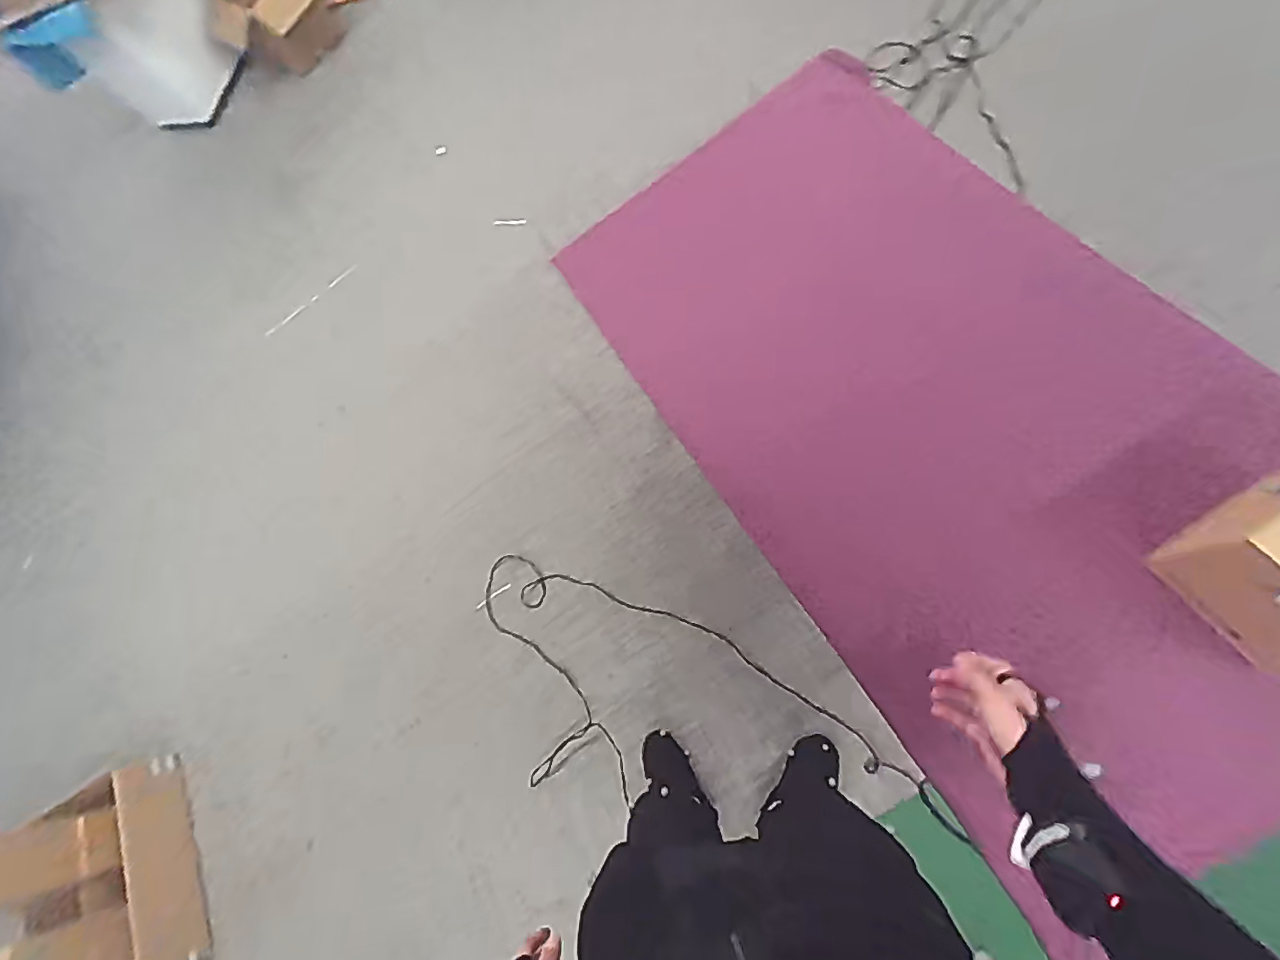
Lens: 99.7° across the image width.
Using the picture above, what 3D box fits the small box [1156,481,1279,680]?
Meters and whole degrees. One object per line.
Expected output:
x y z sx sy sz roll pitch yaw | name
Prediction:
0.706 0.091 0.549 0.179 0.176 0.168 -36 67 2 | small box
